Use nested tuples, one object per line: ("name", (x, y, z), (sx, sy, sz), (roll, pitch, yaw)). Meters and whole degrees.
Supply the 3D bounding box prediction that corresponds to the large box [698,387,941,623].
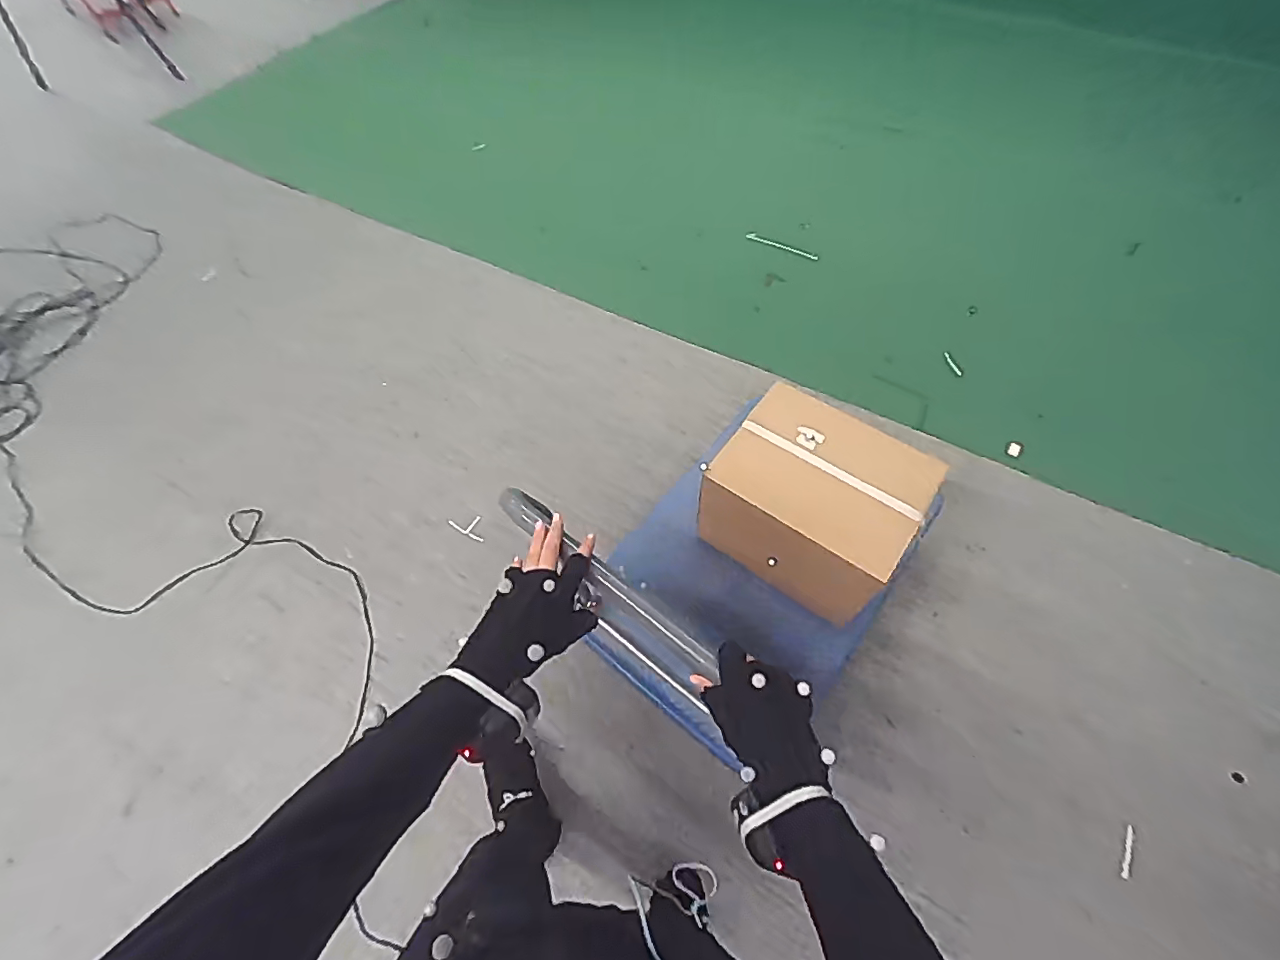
("large box", (0.384, 0.062, 1.246), (0.408, 0.320, 0.320), (32, 65, 21))
